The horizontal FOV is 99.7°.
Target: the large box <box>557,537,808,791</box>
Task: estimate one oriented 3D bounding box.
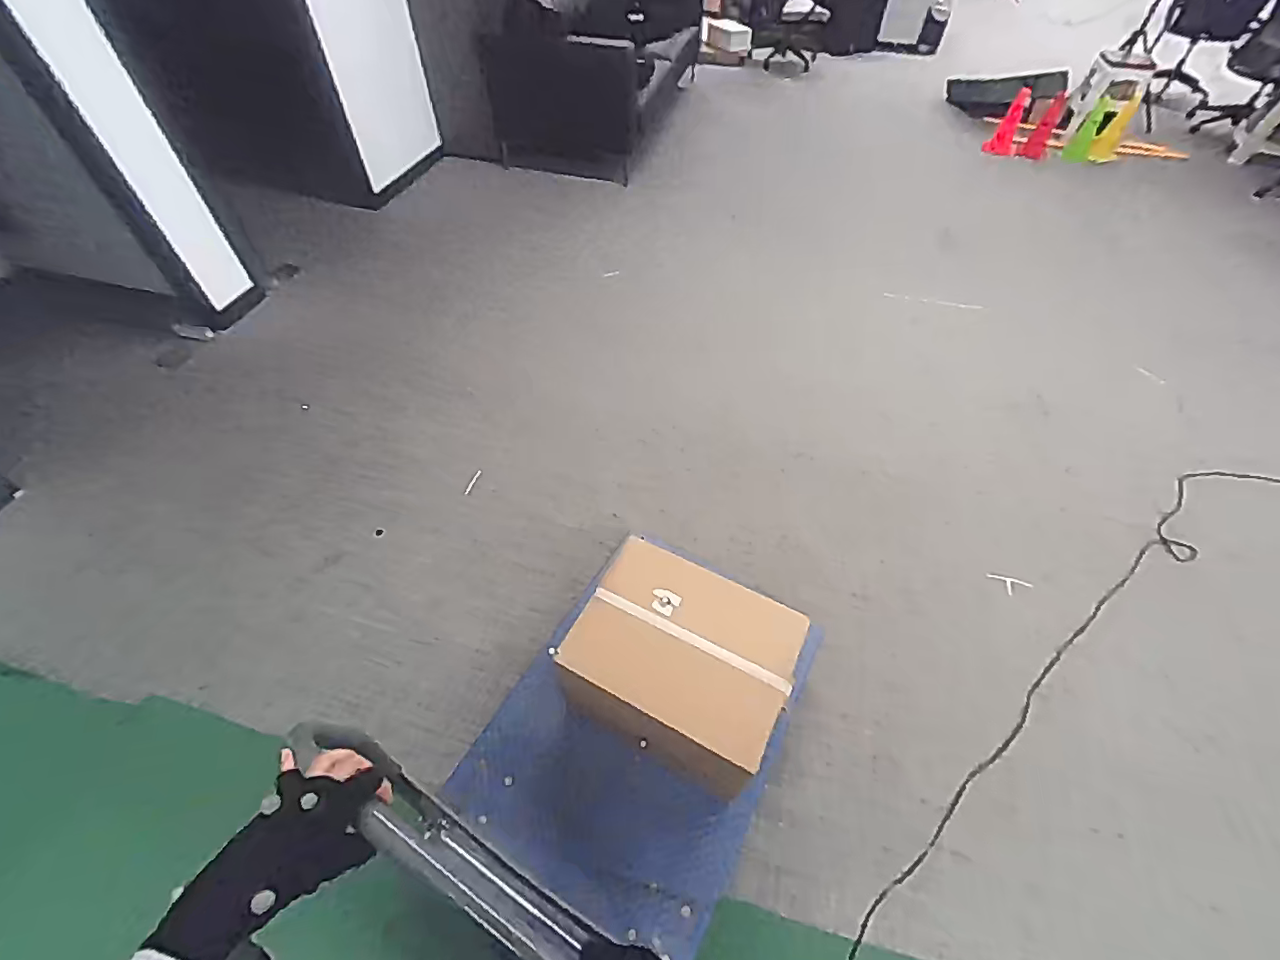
[{"bbox_3d":[0.091,0.390,1.149,0.408,0.320,0.320,22,54,17],"label":"large box"}]
